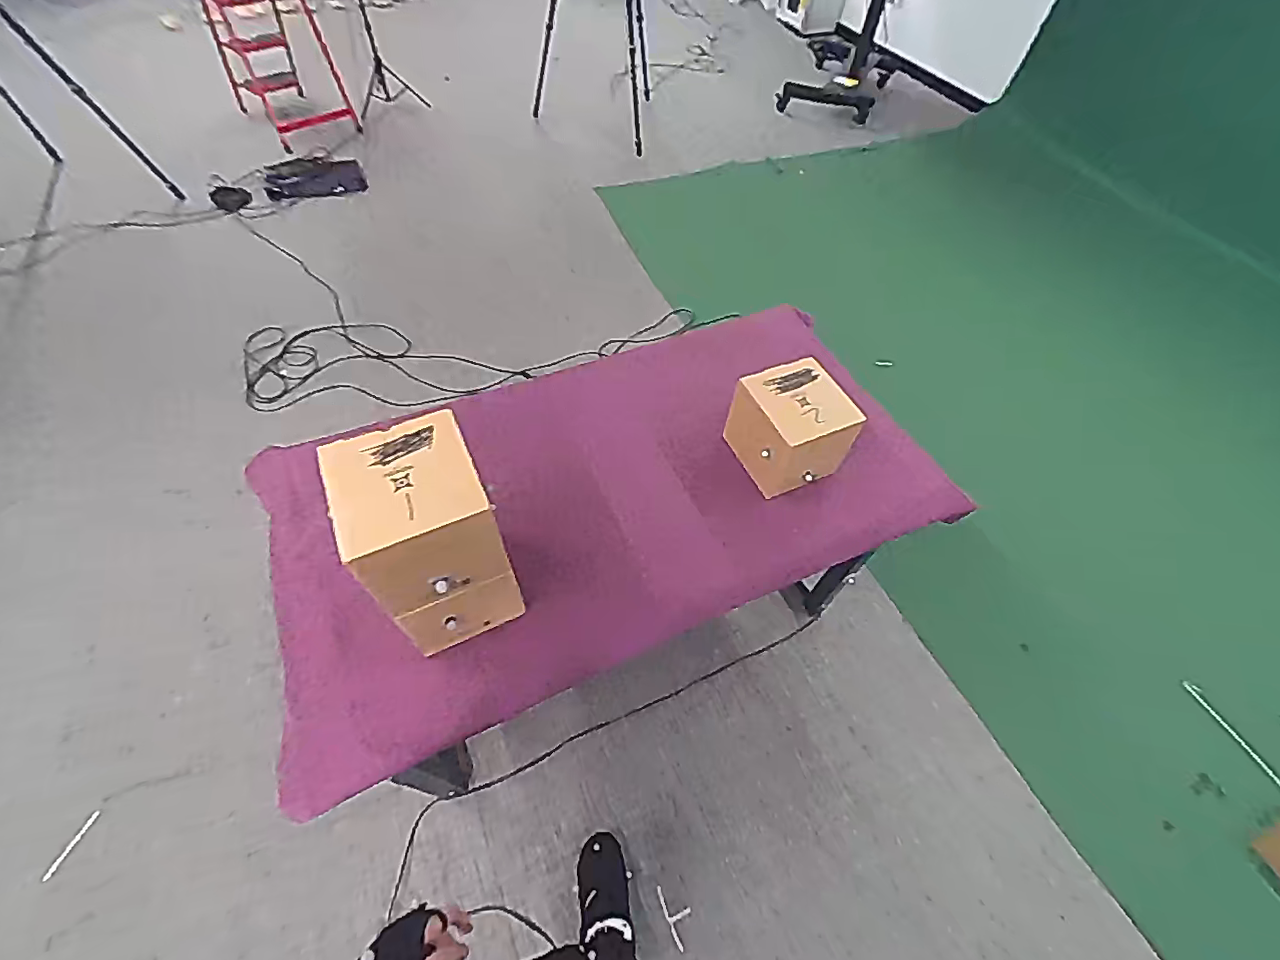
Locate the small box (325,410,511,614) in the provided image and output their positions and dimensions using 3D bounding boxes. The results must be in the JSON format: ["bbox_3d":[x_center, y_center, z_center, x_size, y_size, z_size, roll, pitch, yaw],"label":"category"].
[{"bbox_3d":[-0.280,0.044,0.704,0.168,0.176,0.179,-21,59,-17],"label":"small box"}]

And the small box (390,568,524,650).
[{"bbox_3d":[-0.289,0.141,0.835,0.168,0.176,0.179,-21,58,-18],"label":"small box"}]

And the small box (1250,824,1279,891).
[{"bbox_3d":[1.668,0.941,1.306,0.179,0.176,0.168,-17,58,-16],"label":"small box"}]
